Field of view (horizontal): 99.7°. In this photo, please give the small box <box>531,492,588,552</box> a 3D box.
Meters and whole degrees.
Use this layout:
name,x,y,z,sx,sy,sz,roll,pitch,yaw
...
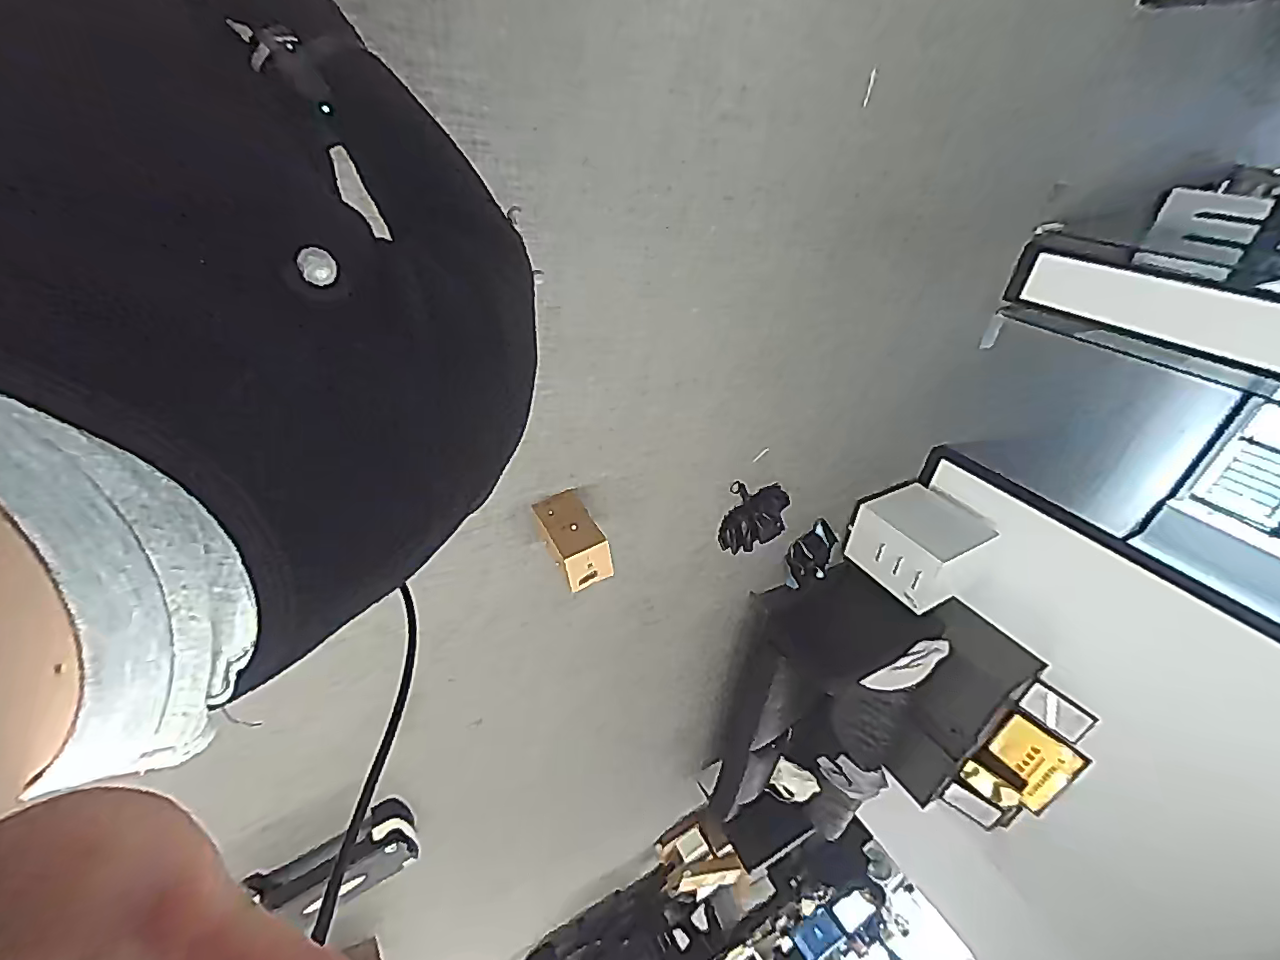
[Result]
name,x,y,z,sx,sy,sz,roll,pitch,yaw
small box,-0.293,0.168,2.028,0.168,0.176,0.179,-23,134,-18

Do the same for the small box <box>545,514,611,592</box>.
name,x,y,z,sx,sy,sz,roll,pitch,yaw
small box,-0.218,0.254,1.910,0.168,0.176,0.179,-23,131,-20
